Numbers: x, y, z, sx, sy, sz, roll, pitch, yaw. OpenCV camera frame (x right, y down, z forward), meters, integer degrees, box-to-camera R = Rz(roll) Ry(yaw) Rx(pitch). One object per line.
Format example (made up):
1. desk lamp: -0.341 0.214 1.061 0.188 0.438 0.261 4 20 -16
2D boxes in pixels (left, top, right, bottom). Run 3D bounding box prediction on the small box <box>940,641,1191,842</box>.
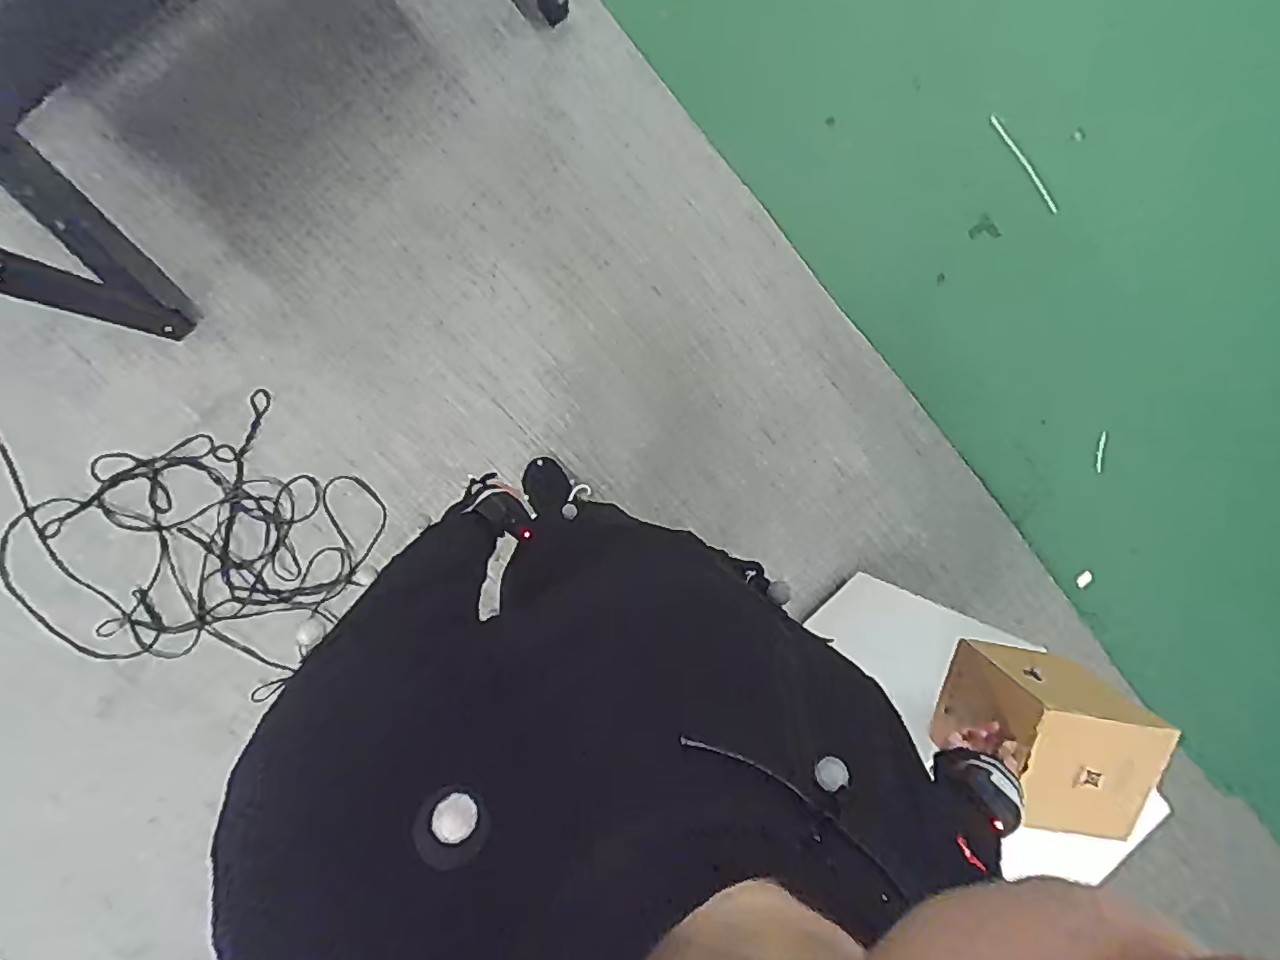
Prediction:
1. small box: 0.538 0.331 0.714 0.179 0.176 0.168 9 102 -5
